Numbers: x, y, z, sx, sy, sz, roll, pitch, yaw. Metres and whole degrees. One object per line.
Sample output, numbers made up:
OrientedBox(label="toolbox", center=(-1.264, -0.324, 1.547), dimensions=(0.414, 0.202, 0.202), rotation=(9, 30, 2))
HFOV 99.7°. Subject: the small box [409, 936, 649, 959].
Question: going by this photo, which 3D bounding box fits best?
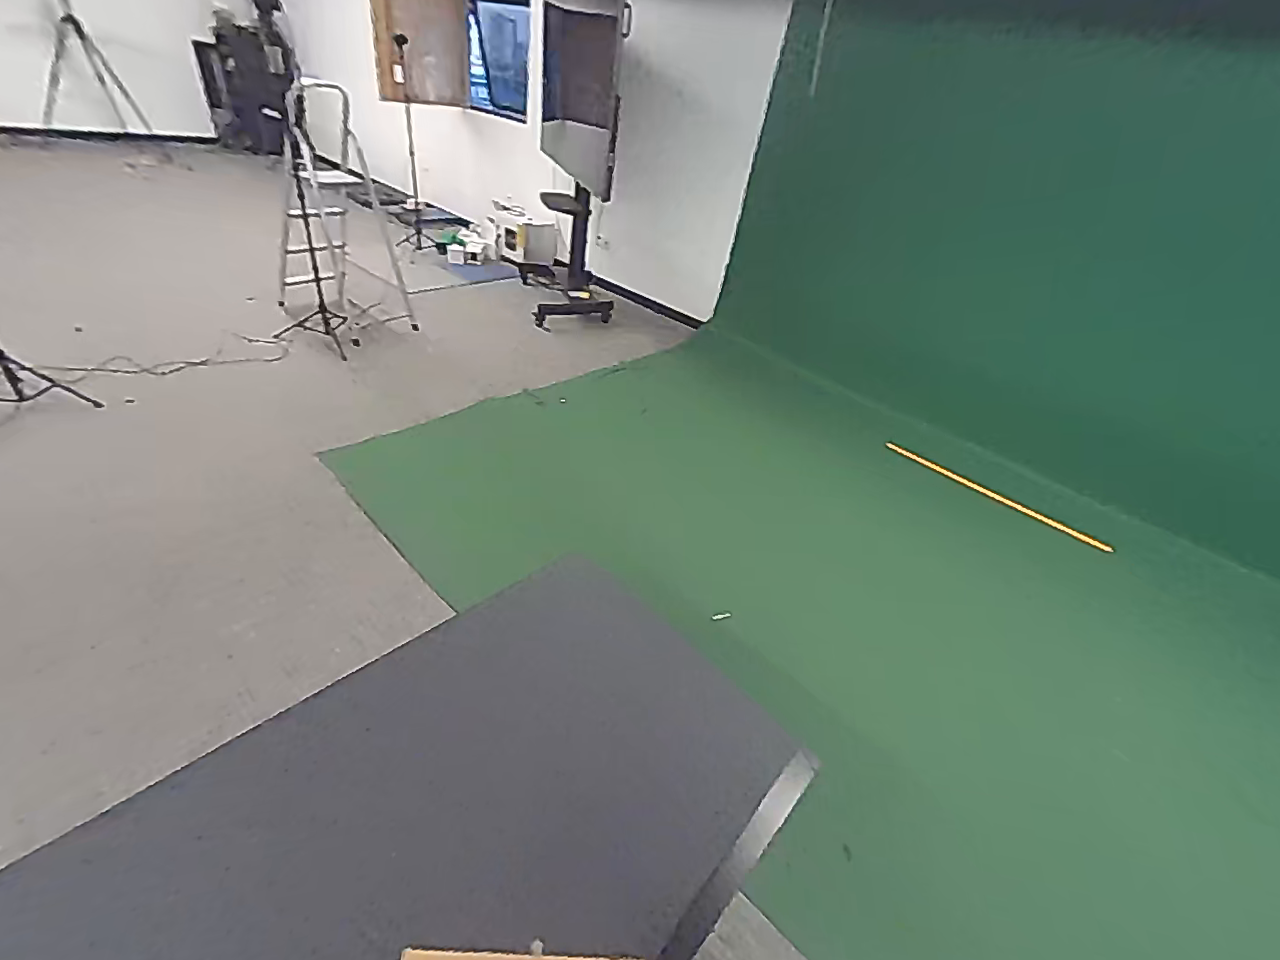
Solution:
OrientedBox(label="small box", center=(-0.087, 0.426, 0.347), dimensions=(0.168, 0.176, 0.179), rotation=(9, 42, -4))
